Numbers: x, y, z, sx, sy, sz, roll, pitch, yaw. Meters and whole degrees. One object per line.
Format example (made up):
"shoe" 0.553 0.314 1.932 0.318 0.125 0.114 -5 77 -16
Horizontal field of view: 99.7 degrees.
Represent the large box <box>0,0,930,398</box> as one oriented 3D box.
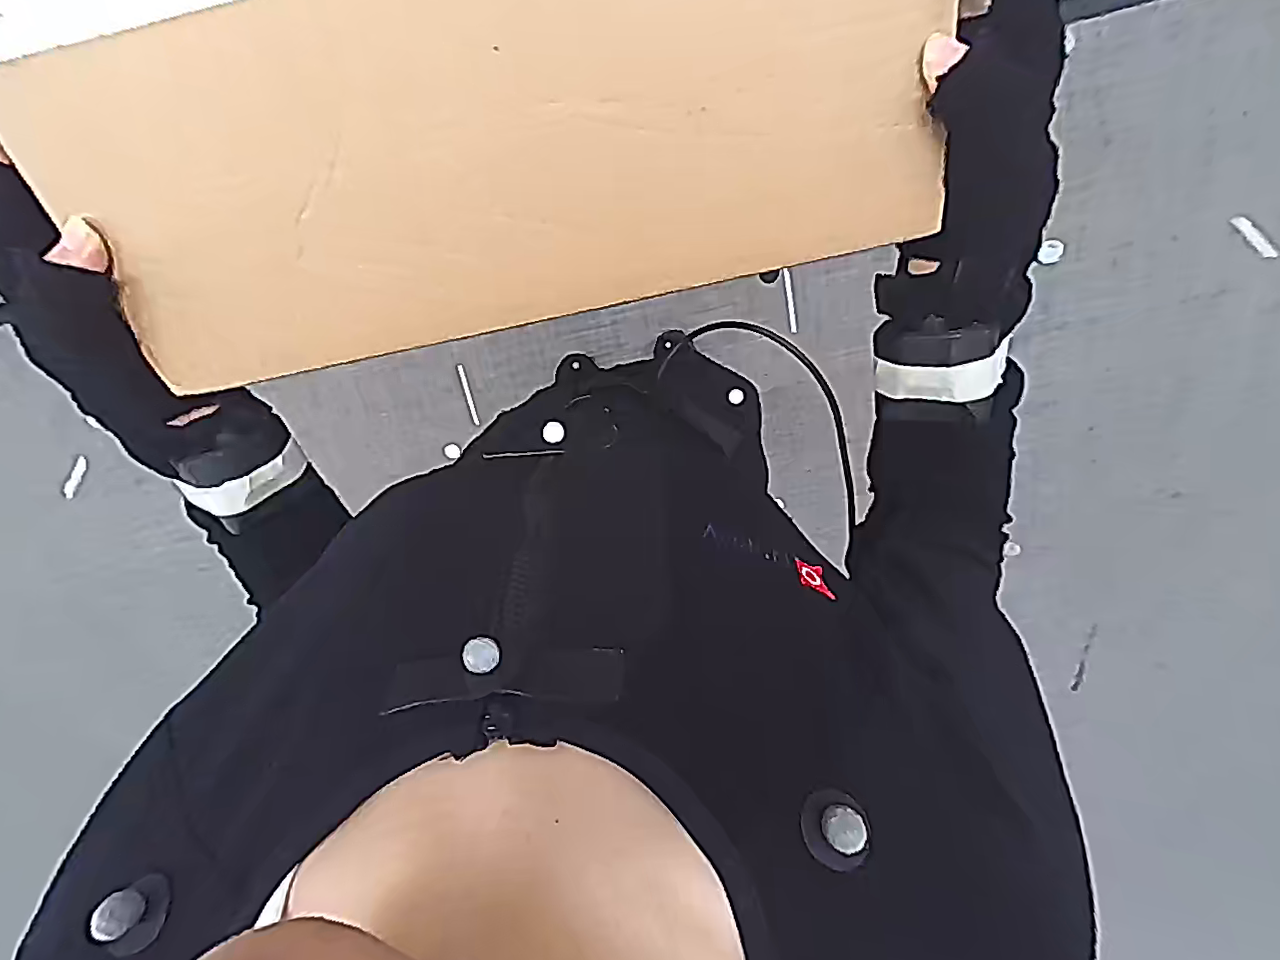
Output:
"large box" -0.084 -0.287 0.346 0.408 0.320 0.320 -11 118 5
